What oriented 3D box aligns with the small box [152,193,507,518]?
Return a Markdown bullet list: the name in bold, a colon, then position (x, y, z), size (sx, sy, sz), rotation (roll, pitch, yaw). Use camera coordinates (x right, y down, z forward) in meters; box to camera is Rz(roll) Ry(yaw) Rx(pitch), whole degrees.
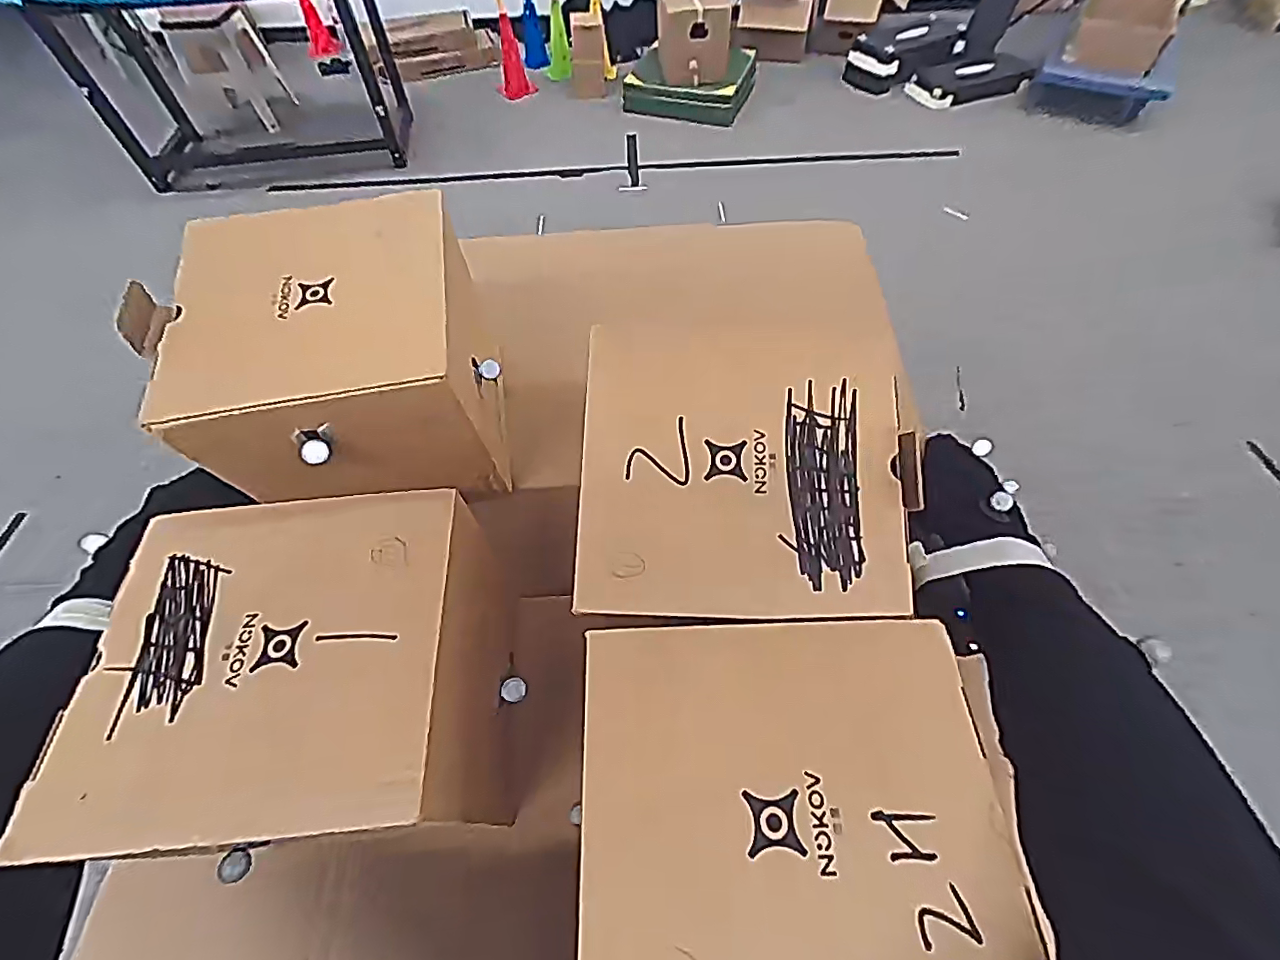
- **small box**: position (-0.207, -0.084, 0.420), size (0.179, 0.176, 0.168), rotation (-10, 64, -2)
